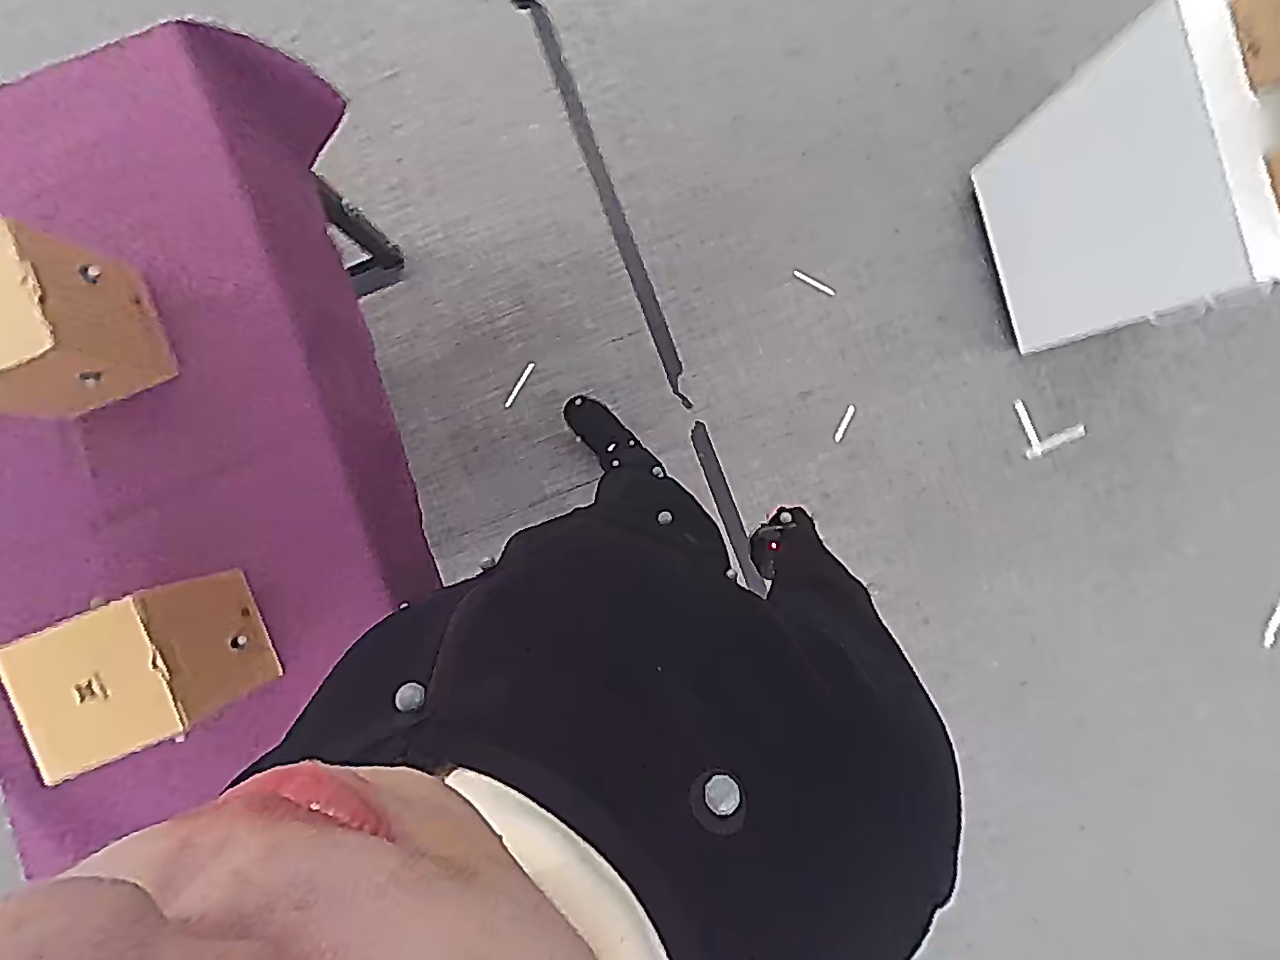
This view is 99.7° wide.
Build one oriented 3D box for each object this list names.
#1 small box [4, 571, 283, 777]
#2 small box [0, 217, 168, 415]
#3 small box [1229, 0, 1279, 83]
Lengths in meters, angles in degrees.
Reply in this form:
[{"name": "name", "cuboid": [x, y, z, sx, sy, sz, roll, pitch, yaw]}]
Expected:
[{"name": "small box", "cuboid": [-0.617, 0.233, 0.695, 0.179, 0.176, 0.168, -23, 91, 0]}, {"name": "small box", "cuboid": [-0.759, -0.193, 0.687, 0.179, 0.176, 0.168, -22, 91, 1]}, {"name": "small box", "cuboid": [1.064, -0.747, 0.809, 0.179, 0.176, 0.168, -16, 91, -1]}]
